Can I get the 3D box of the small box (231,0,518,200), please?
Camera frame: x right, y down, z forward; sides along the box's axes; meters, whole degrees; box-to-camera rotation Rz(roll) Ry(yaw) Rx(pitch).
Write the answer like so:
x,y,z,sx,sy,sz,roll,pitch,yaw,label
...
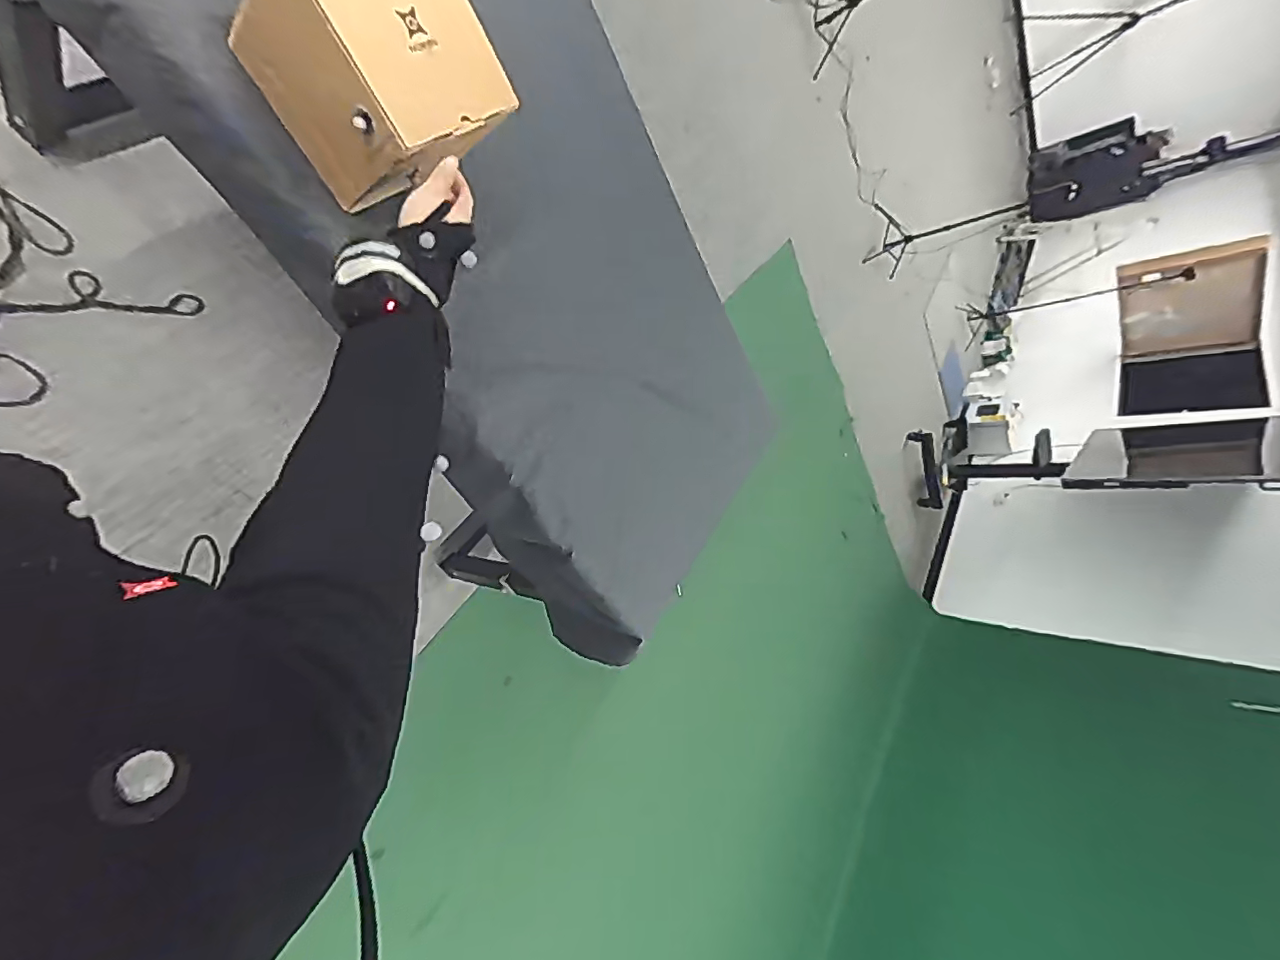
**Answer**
x,y,z,sx,sy,sz,roll,pitch,yaw,label
-0.270,-0.427,0.556,0.168,0.176,0.179,-52,125,-34,small box
